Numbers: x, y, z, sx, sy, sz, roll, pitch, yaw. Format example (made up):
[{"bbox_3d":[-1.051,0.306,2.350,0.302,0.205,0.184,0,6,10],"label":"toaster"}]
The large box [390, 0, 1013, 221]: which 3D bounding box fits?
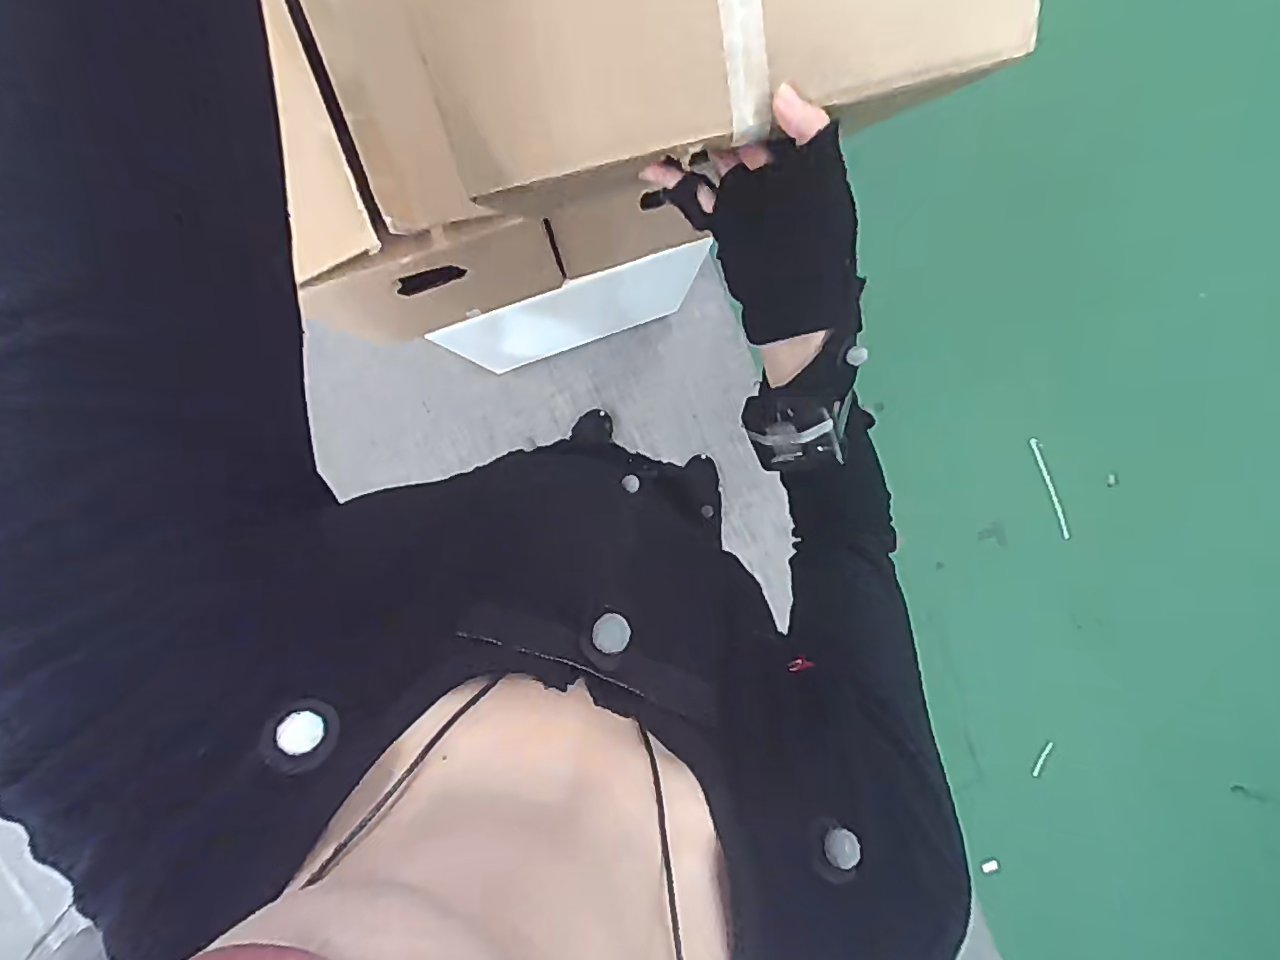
[{"bbox_3d":[-0.007,-0.429,0.352,0.320,0.320,0.408,-13,112,1],"label":"large box"}]
